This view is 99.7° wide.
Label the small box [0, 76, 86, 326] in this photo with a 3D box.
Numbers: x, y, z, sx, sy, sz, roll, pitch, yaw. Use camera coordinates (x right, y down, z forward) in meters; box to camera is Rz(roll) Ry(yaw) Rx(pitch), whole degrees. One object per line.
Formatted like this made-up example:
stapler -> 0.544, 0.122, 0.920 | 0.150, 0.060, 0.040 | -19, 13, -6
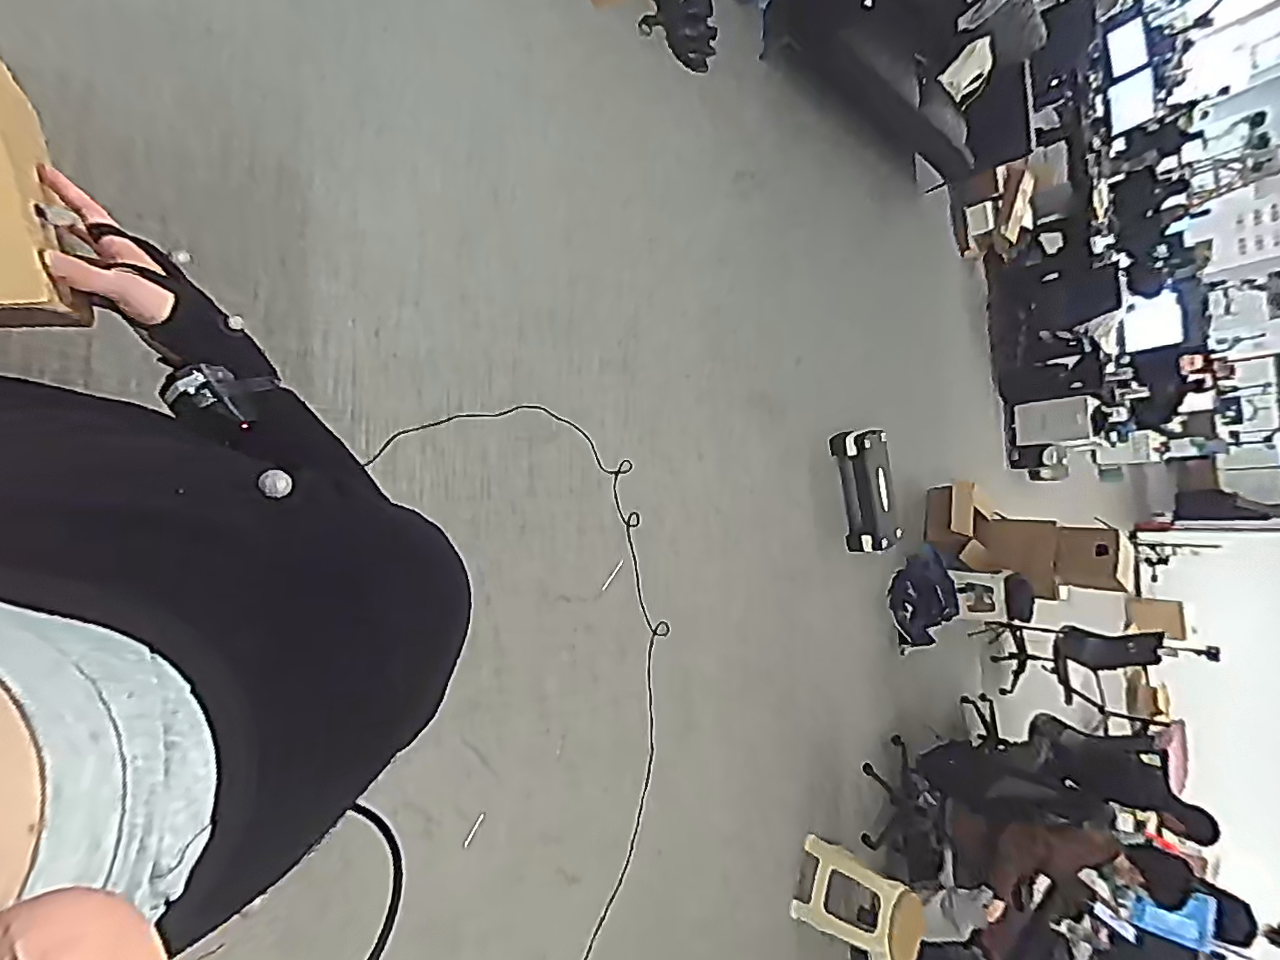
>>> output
small box -> -0.505, -0.192, 0.352 | 0.168, 0.176, 0.179 | -15, 109, -38
